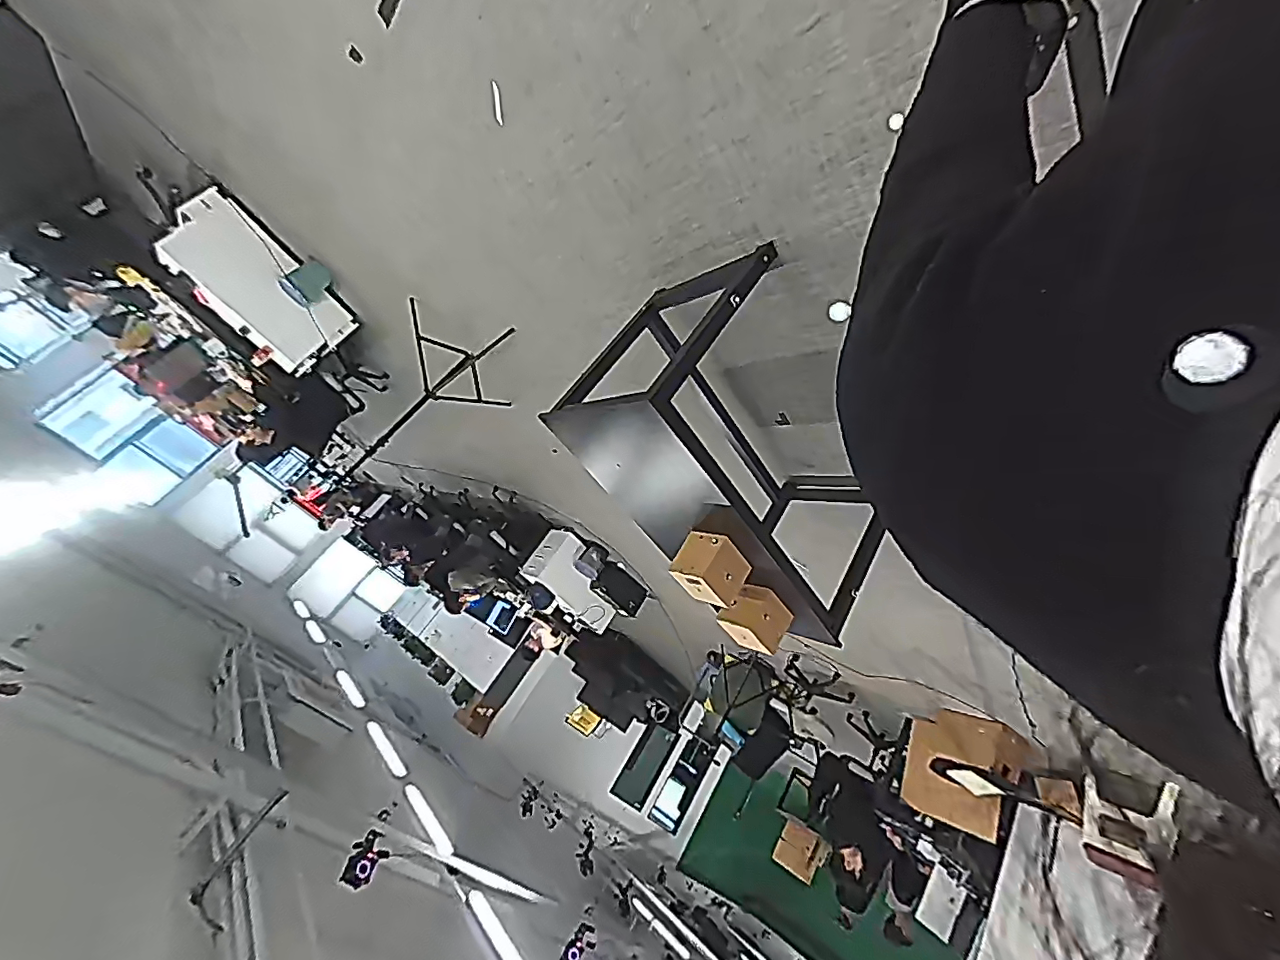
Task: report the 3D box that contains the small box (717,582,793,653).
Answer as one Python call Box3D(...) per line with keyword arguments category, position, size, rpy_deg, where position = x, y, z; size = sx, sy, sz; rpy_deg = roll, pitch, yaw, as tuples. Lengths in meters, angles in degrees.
Box3D(category="small box", position=(0.414, 0.484, 1.936), size=(0.179, 0.176, 0.168), rpy_deg=(47, 155, -26))

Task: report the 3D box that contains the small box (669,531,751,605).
Box3D(category="small box", position=(0.237, 0.288, 1.804), size=(0.168, 0.176, 0.179), rpy_deg=(4, 142, 52))
